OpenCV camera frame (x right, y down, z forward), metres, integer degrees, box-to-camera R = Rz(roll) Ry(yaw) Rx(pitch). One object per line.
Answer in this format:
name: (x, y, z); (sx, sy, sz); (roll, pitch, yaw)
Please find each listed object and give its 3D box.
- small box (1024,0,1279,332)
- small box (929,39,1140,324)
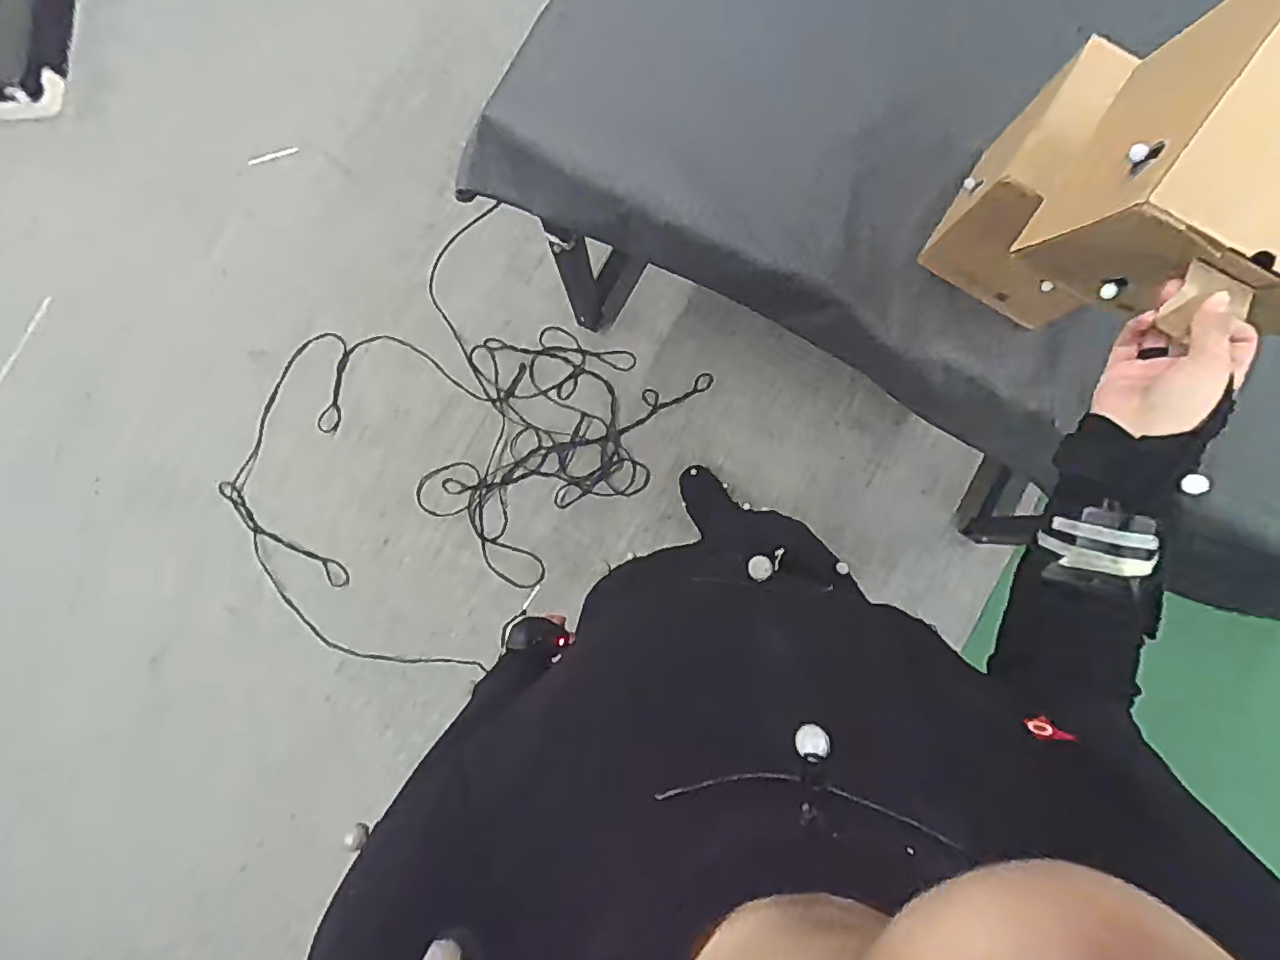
small box: (0.437, -0.225, 0.393); (0.168, 0.176, 0.179); (30, 105, 1)
small box: (0.453, -0.302, 0.588); (0.168, 0.176, 0.179); (33, 85, 2)
